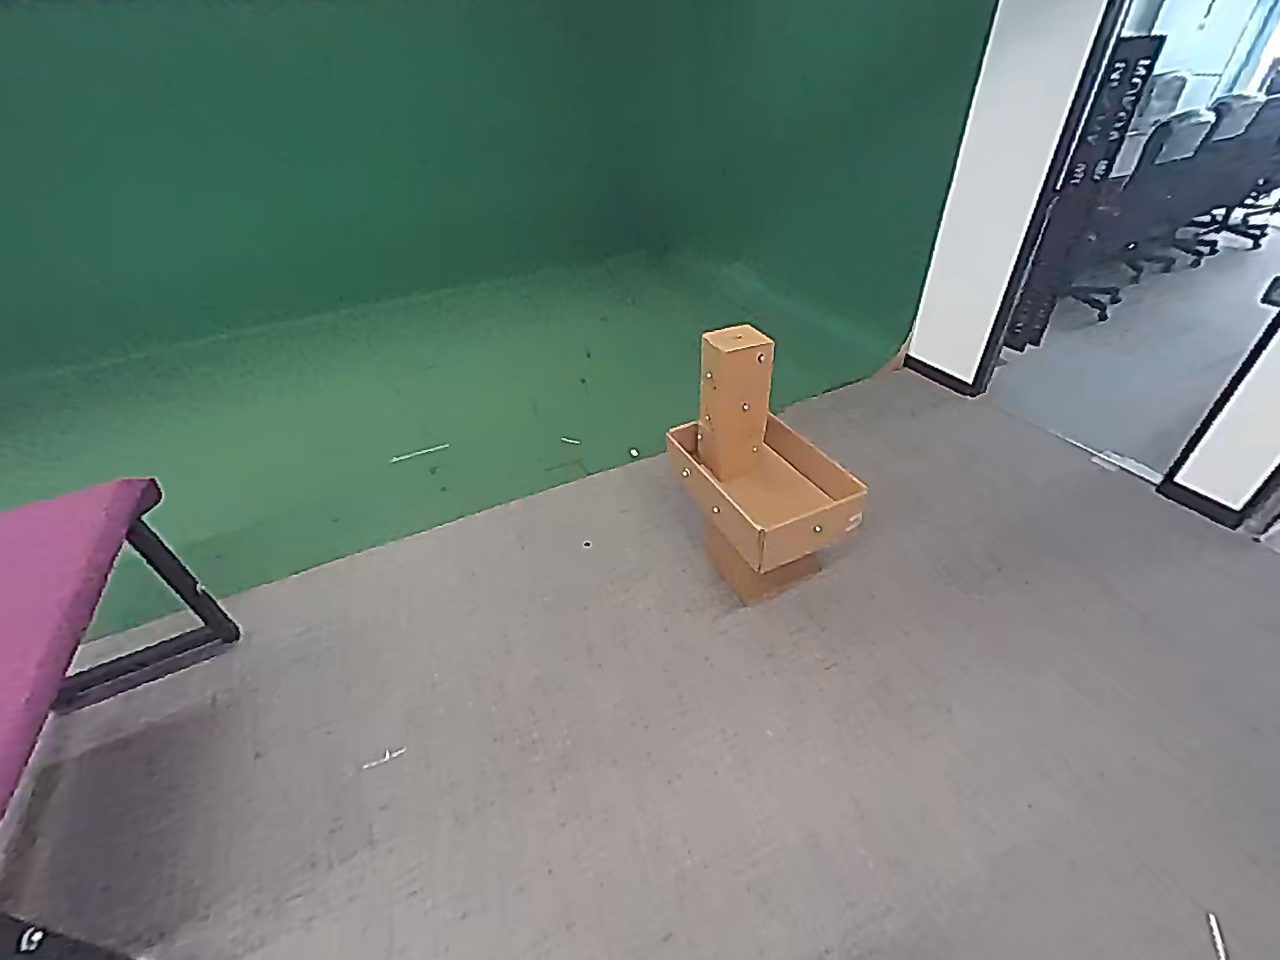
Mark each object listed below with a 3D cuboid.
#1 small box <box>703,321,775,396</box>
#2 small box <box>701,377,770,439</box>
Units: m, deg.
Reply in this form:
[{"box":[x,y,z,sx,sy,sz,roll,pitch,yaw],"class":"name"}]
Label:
[{"box":[0.316,-0.394,1.760,0.179,0.176,0.168,-15,39,-14],"class":"small box"},{"box":[0.323,-0.265,1.862,0.179,0.176,0.168,-16,40,-16],"class":"small box"}]
